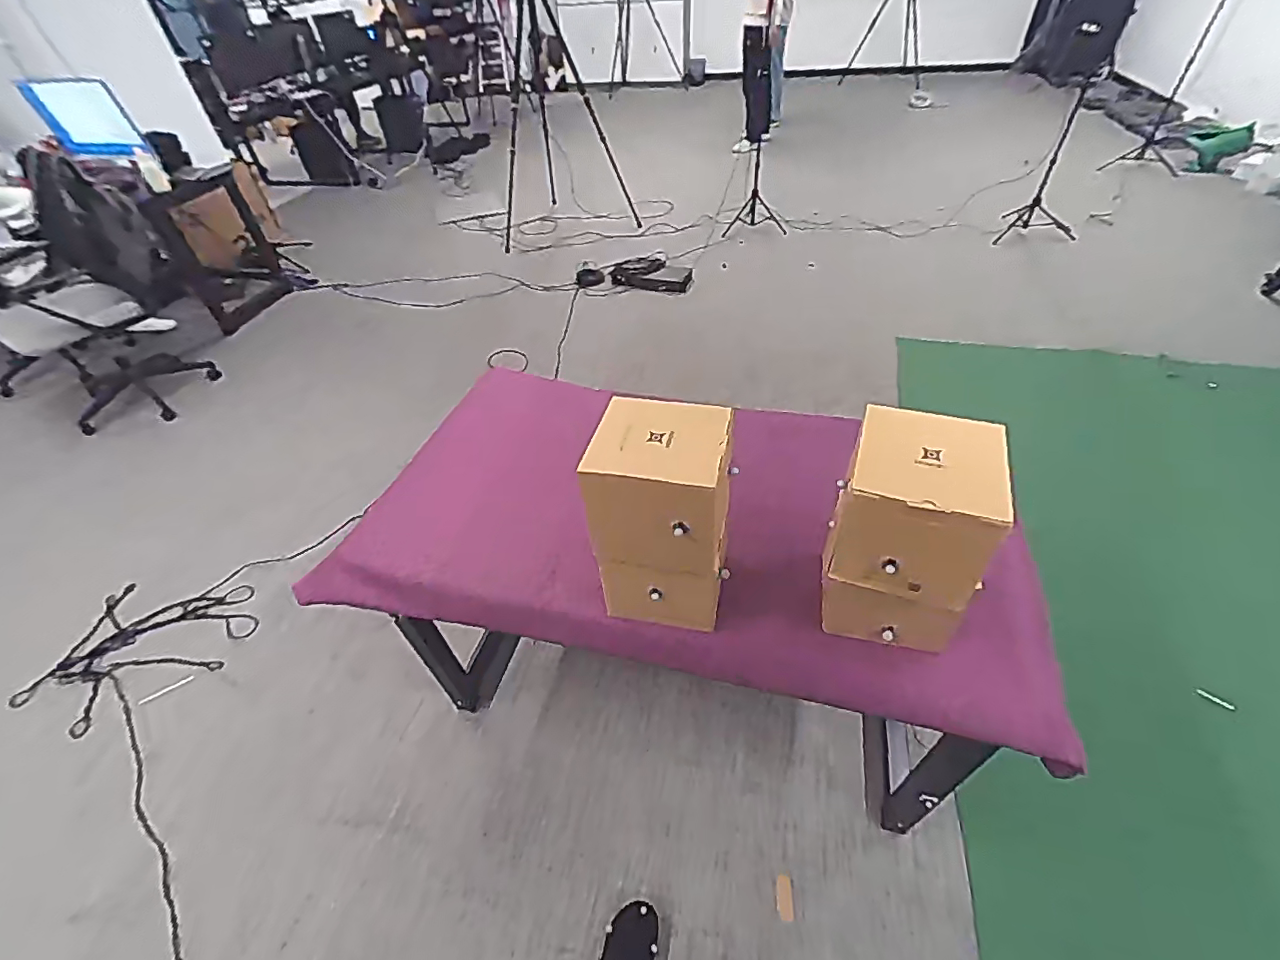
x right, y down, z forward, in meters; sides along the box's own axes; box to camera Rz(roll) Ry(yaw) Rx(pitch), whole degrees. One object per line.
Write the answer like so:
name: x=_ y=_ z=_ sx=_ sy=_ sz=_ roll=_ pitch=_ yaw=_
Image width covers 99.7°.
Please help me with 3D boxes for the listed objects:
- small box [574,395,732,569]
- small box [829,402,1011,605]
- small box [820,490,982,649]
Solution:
small box: x=0.028 y=0.003 z=0.754 sx=0.179 sy=0.176 sz=0.168 roll=7 pitch=43 yaw=14
small box: x=0.350 y=0.027 z=0.698 sx=0.168 sy=0.176 sz=0.179 roll=13 pitch=47 yaw=19
small box: x=0.380 y=0.135 z=0.820 sx=0.179 sy=0.176 sz=0.168 roll=7 pitch=44 yaw=13
